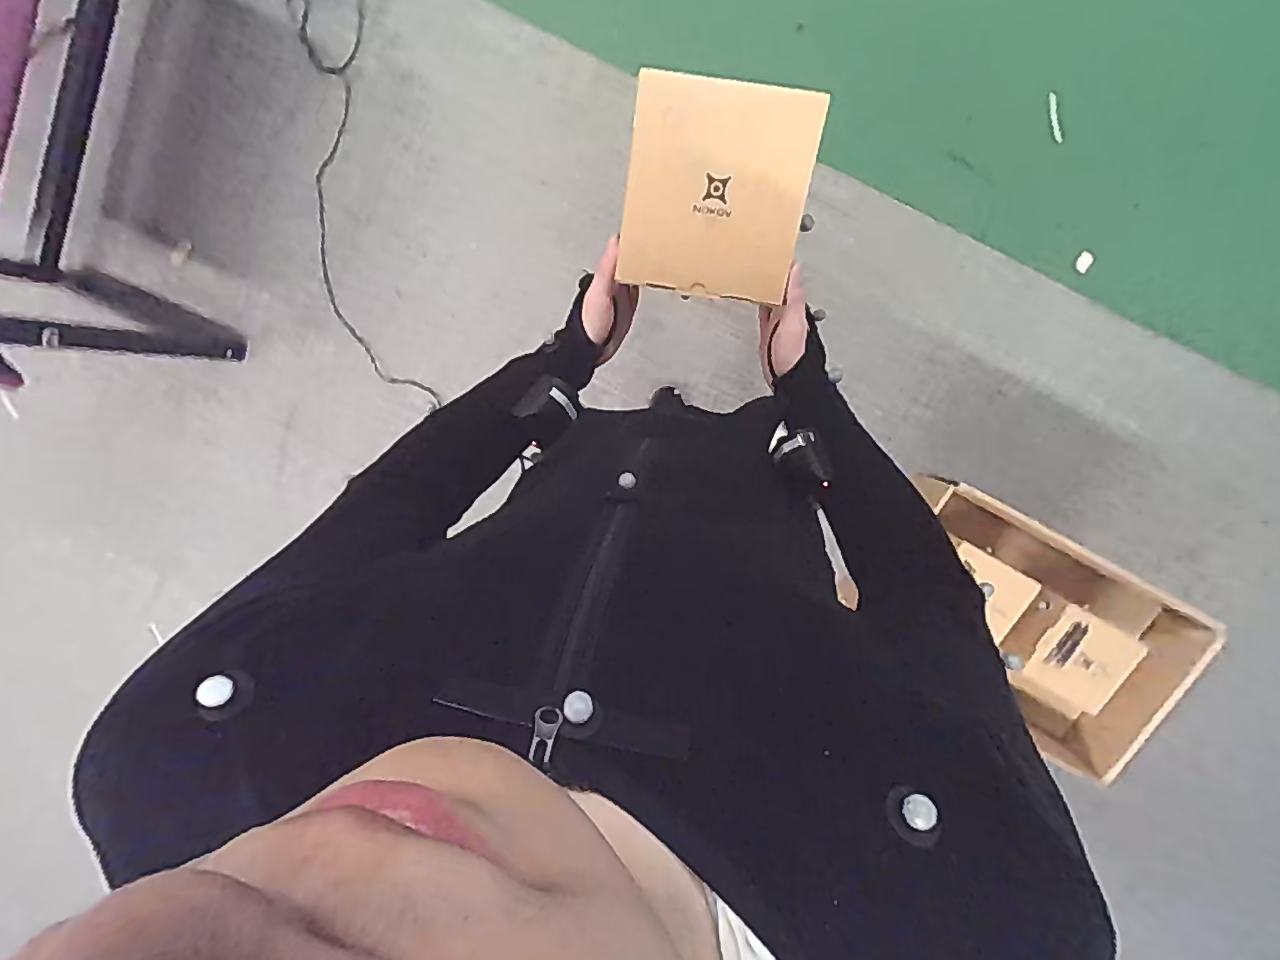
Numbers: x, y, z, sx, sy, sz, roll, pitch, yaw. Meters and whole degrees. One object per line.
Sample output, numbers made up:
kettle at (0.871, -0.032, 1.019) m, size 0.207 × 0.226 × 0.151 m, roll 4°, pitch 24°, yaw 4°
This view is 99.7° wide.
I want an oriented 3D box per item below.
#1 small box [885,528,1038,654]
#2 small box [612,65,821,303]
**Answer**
small box at (0.641, 0.215, 1.108) m, size 0.179 × 0.176 × 0.168 m, roll 30°, pitch 100°, yaw -2°
small box at (0.069, -0.293, 0.565) m, size 0.168 × 0.176 × 0.179 m, roll 9°, pitch 114°, yaw 2°
